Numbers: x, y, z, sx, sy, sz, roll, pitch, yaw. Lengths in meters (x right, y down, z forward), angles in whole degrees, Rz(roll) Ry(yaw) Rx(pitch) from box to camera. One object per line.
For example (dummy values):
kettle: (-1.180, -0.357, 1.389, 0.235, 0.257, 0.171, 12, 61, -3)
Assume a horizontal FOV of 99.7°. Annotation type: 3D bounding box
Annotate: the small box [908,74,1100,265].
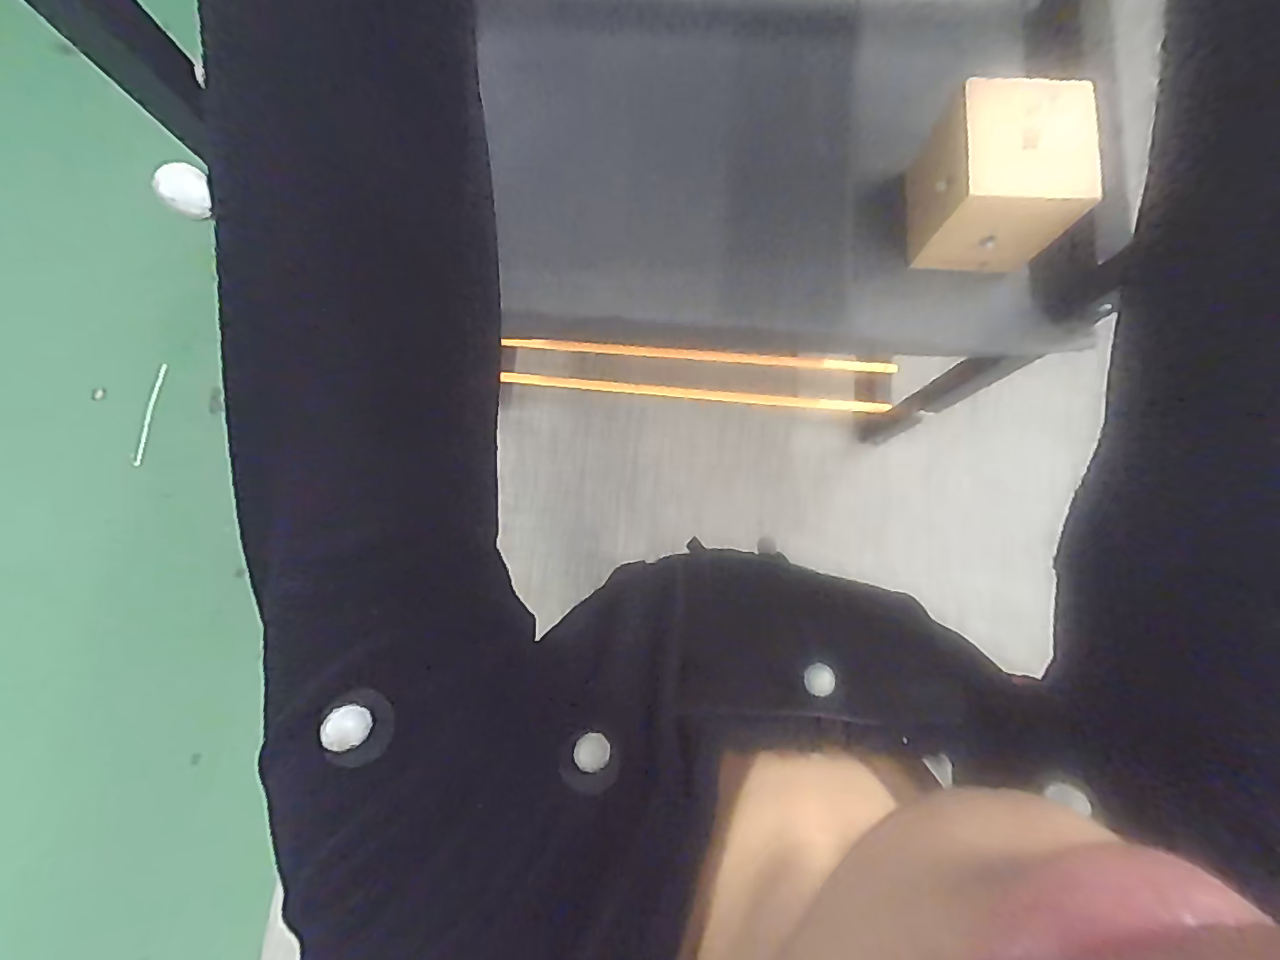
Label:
small box: (0.502, -0.429, 0.771, 0.168, 0.176, 0.179, 3, 80, 2)
